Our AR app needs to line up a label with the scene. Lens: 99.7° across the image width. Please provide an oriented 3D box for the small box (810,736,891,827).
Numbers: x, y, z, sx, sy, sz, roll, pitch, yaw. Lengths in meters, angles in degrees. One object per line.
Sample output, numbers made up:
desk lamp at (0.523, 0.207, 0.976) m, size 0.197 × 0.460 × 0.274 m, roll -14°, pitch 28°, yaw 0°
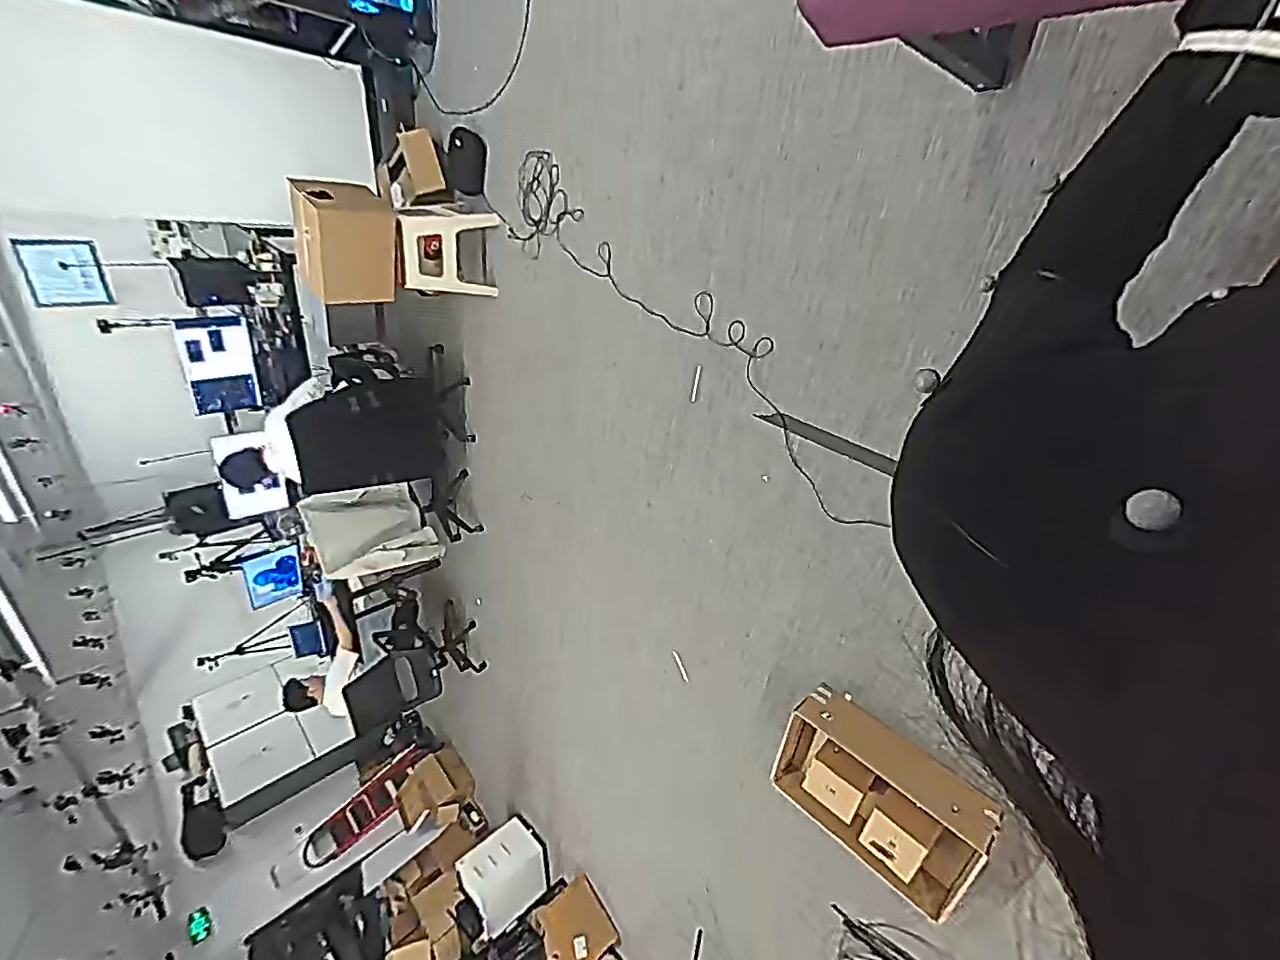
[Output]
small box at (0.699, 0.990, 1.801) m, size 0.179 × 0.176 × 0.168 m, roll 28°, pitch 125°, yaw 36°
